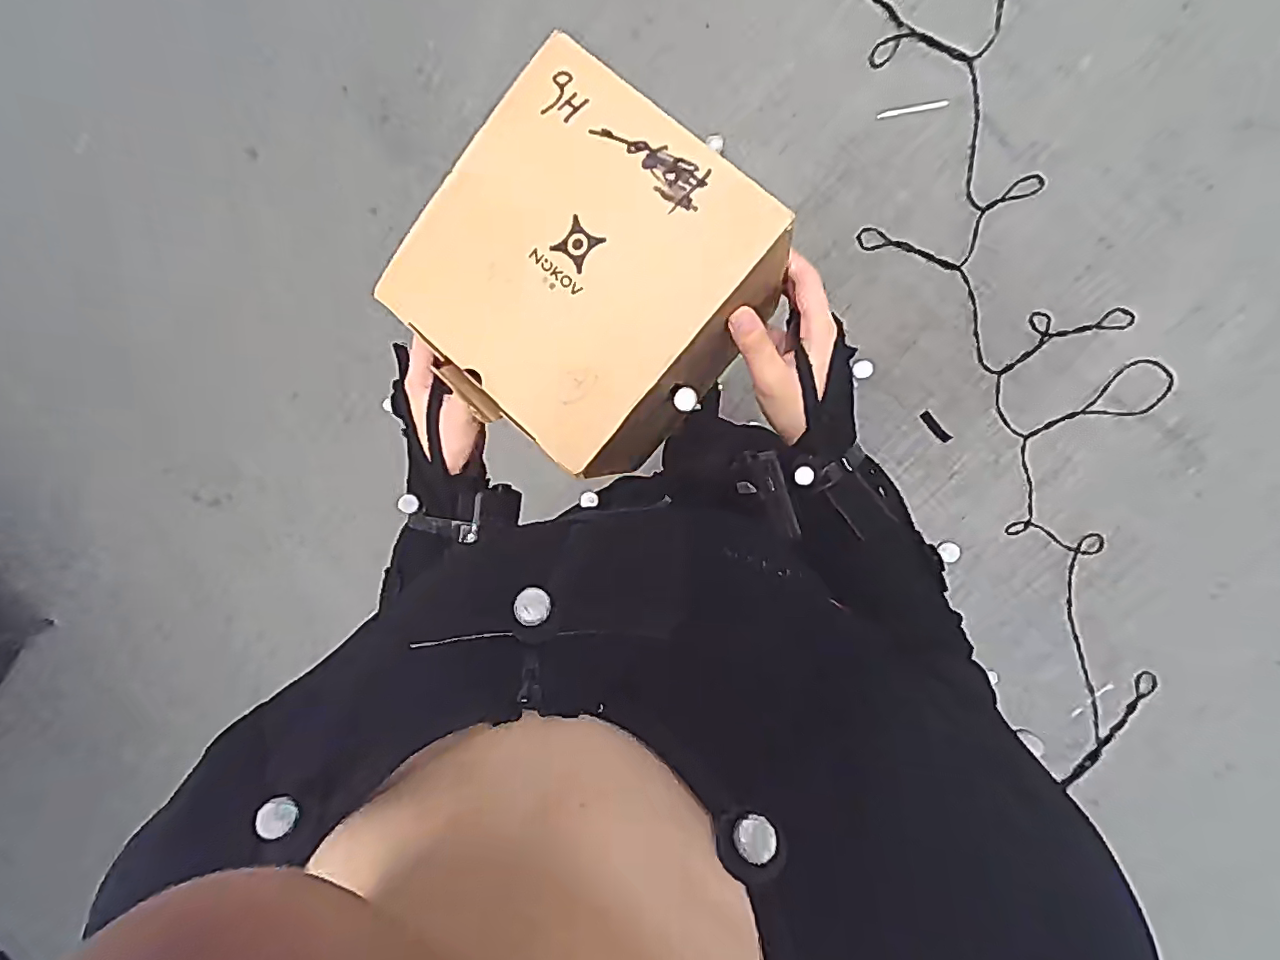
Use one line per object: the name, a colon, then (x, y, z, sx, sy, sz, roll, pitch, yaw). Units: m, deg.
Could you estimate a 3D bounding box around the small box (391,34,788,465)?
small box: (-0.019, -0.128, 0.374, 0.168, 0.176, 0.179, 42, 100, 6)
